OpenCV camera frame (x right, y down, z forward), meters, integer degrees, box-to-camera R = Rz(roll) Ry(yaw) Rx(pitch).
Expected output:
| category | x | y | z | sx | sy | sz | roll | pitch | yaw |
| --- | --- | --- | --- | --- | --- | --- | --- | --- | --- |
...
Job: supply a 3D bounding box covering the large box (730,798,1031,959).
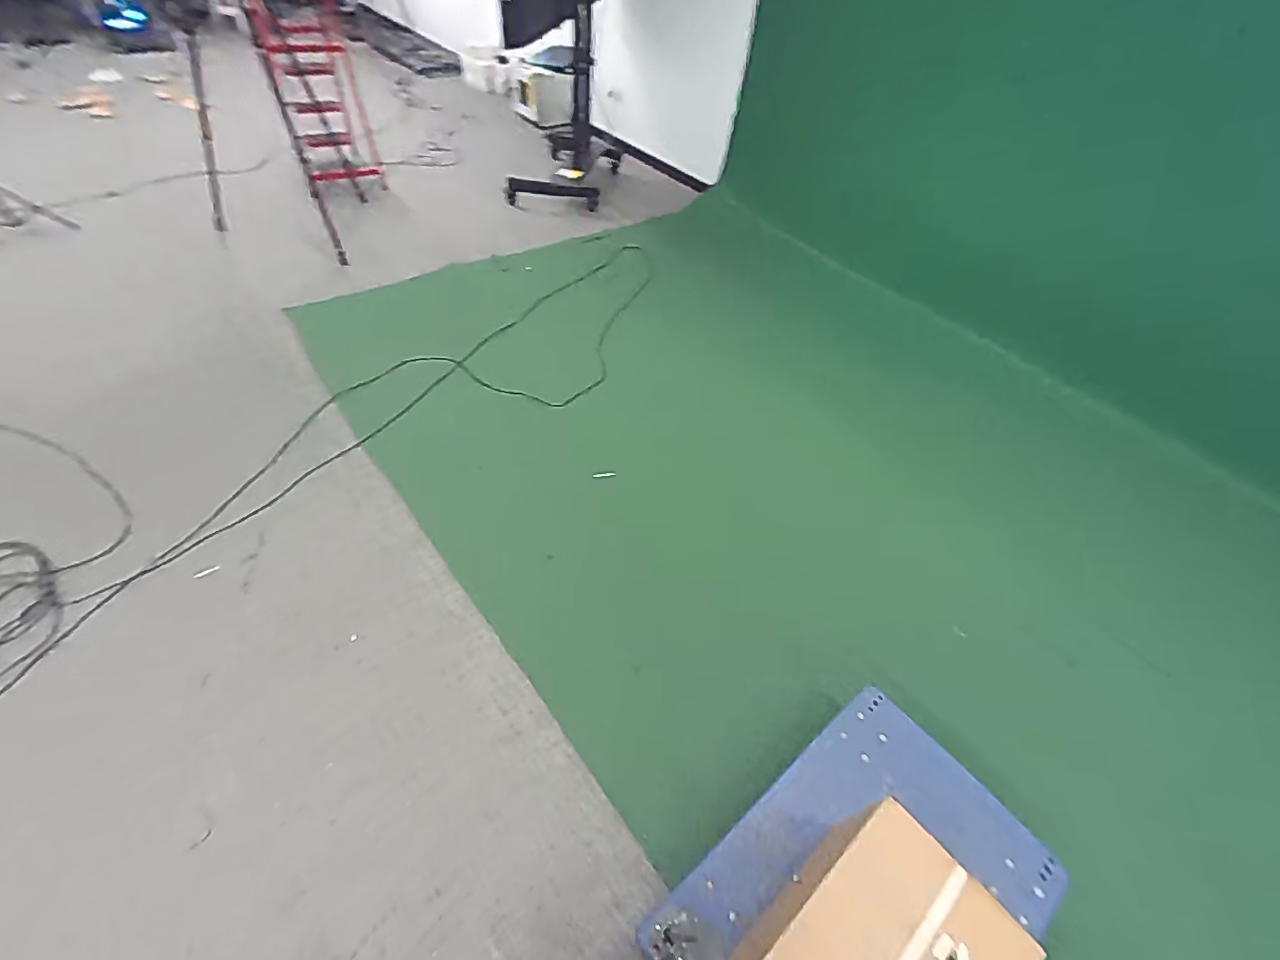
| category | x | y | z | sx | sy | sz | roll | pitch | yaw |
| --- | --- | --- | --- | --- | --- | --- | --- | --- | --- |
| large box | 0.414 | 0.907 | 1.010 | 0.408 | 0.320 | 0.320 | -29 | 57 | -29 |
